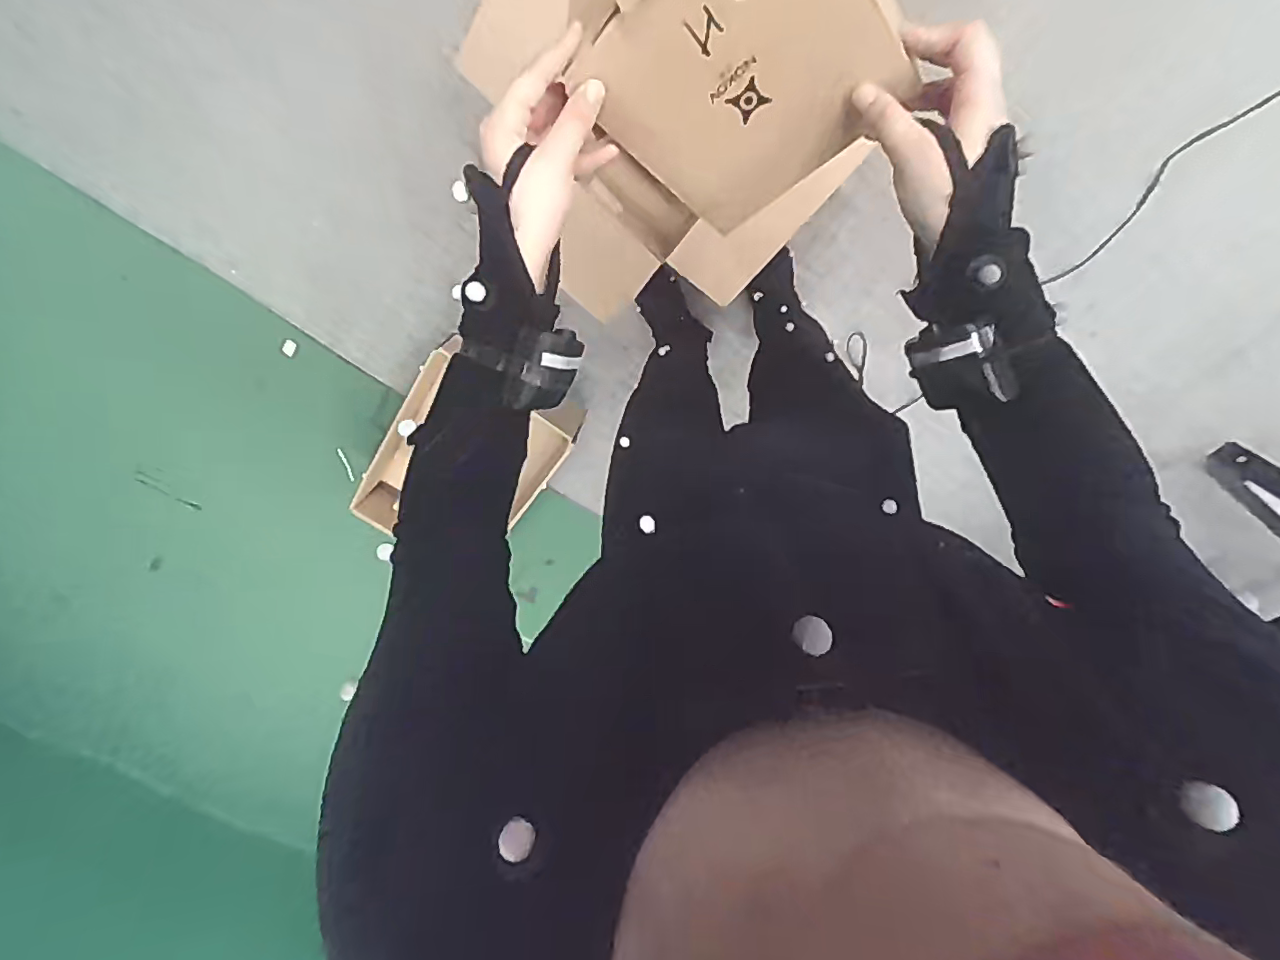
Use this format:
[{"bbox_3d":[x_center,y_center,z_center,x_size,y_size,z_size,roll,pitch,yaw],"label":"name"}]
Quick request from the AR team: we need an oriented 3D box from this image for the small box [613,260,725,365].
[{"bbox_3d":[0.068,-0.378,1.223,0.176,0.168,0.179,13,100,-32],"label":"small box"}]

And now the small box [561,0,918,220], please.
[{"bbox_3d":[0.066,-0.337,0.379,0.179,0.176,0.168,22,147,-40],"label":"small box"}]
